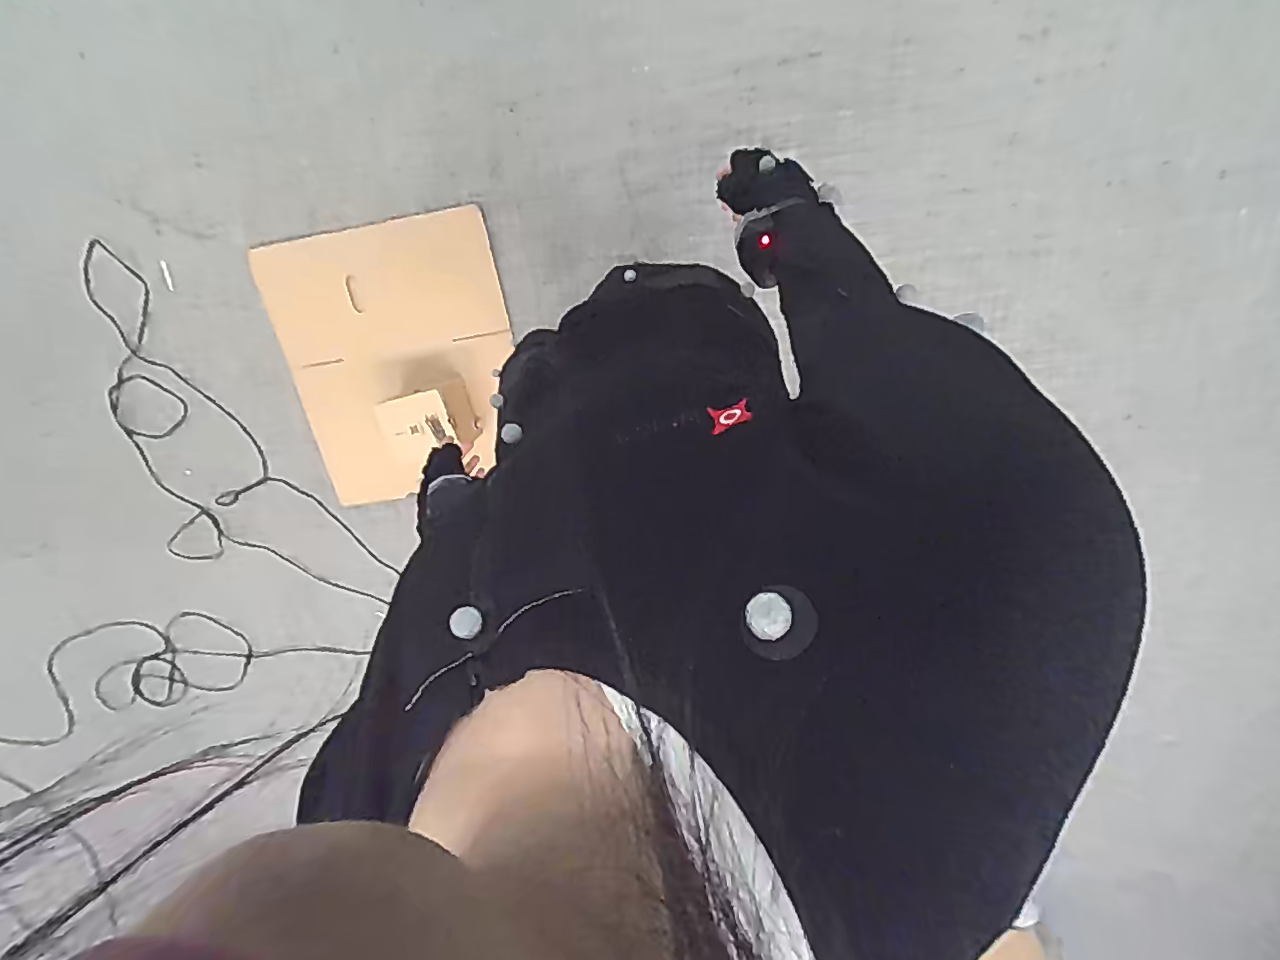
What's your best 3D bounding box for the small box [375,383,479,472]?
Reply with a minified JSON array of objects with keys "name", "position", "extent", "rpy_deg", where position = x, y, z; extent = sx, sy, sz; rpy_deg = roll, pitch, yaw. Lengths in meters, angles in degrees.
[{"name":"small box","position":[-0.527,-0.140,1.377],"extent":[0.179,0.176,0.168],"rpy_deg":[-13,109,7]}]
